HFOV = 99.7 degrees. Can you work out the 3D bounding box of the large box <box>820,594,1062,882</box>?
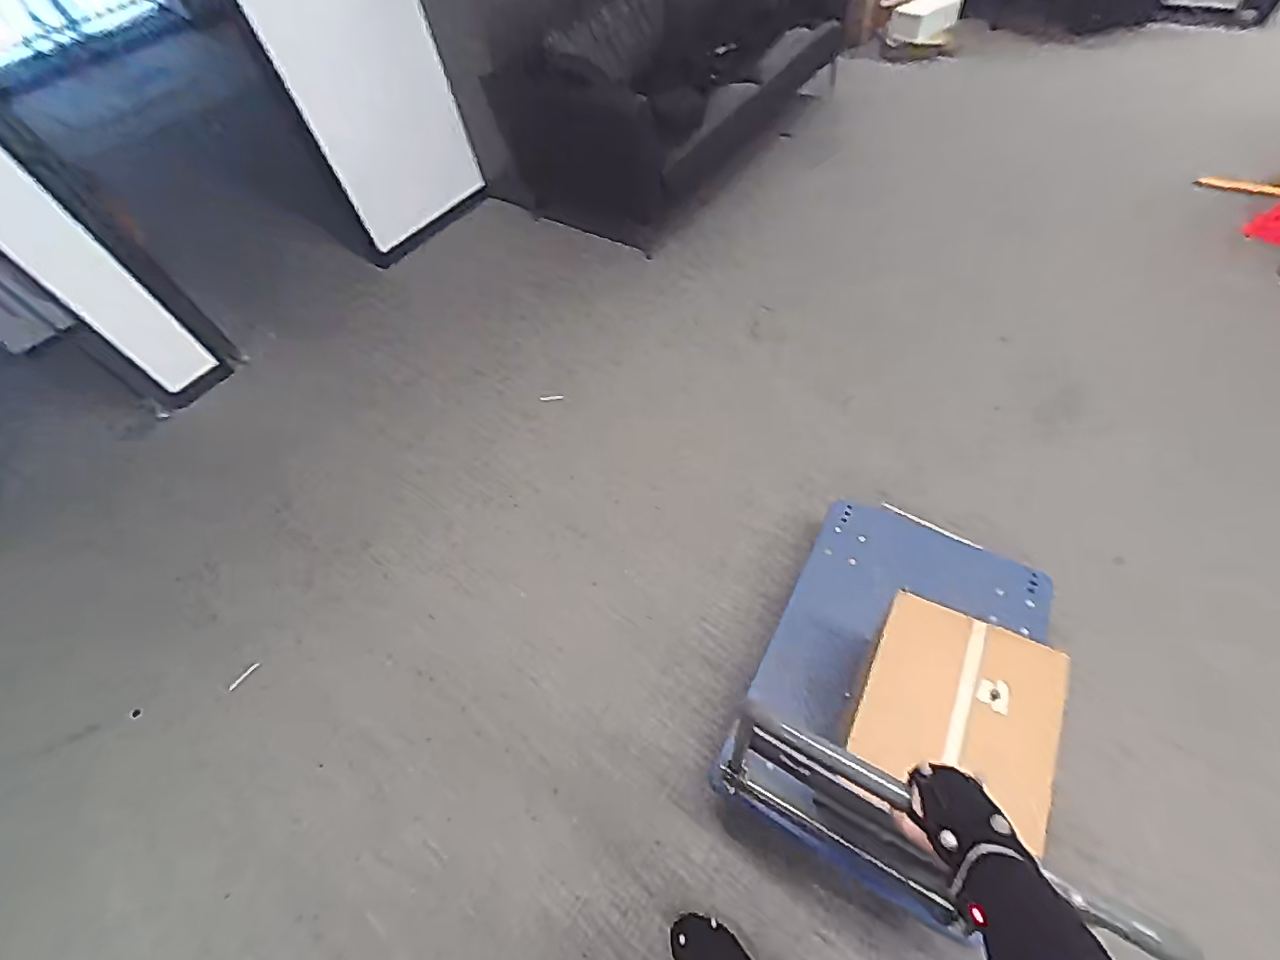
[{"bbox_3d":[0.597,0.523,1.109,0.320,0.320,0.408,22,60,22],"label":"large box"}]
